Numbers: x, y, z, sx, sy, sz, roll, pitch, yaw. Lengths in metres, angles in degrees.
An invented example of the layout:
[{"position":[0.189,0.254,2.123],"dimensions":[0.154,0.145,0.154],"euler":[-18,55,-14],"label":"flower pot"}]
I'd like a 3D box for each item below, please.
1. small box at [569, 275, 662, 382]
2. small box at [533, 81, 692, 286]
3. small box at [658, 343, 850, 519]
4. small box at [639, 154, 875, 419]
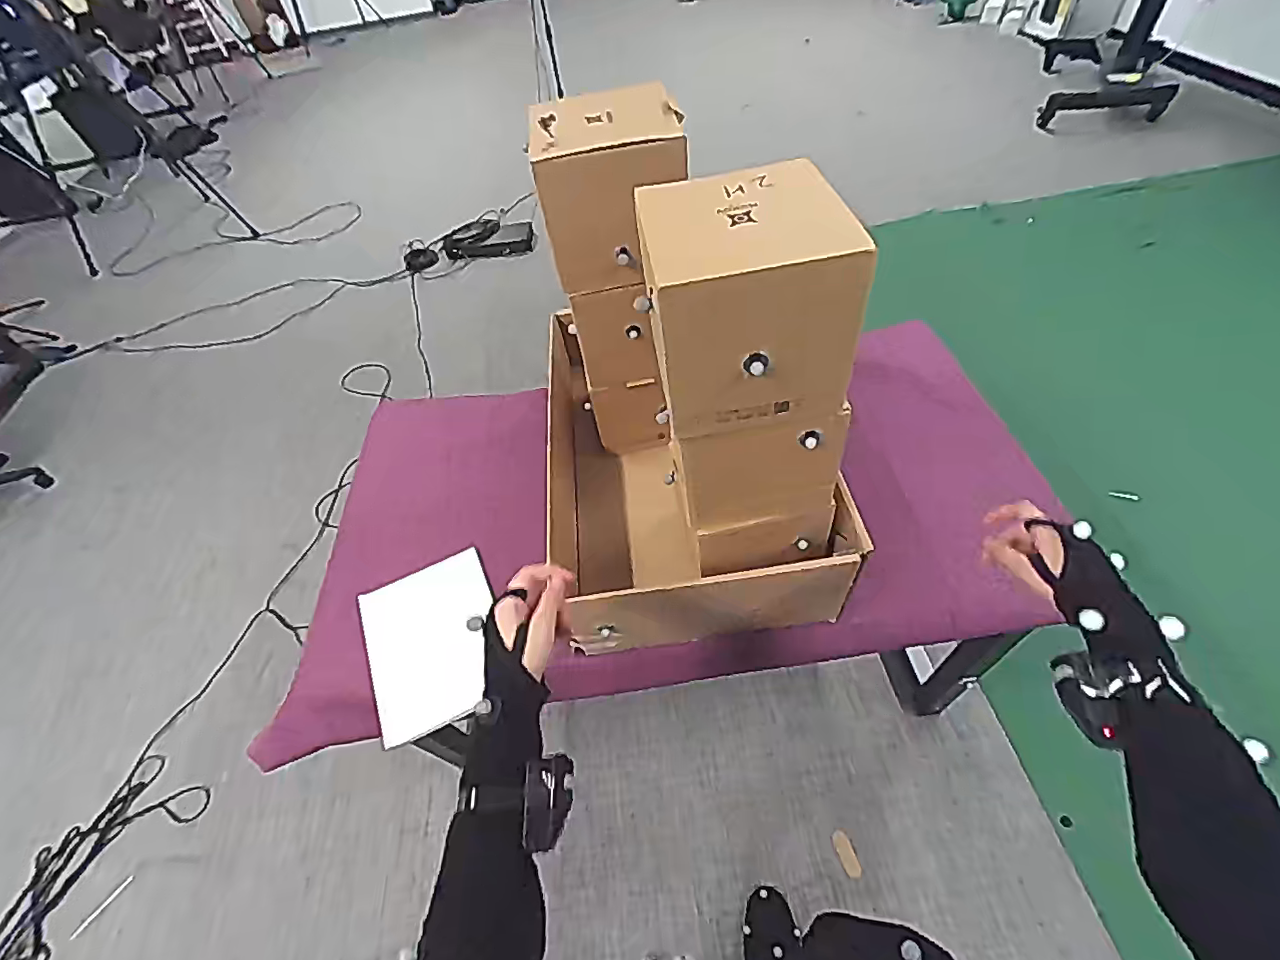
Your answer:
[{"position":[-0.011,-0.274,0.821],"dimensions":[0.179,0.176,0.168],"euler":[-11,52,0],"label":"small box"},{"position":[-0.031,-0.375,0.693],"dimensions":[0.179,0.176,0.168],"euler":[-8,52,0],"label":"small box"},{"position":[0.124,-0.070,0.637],"dimensions":[0.179,0.176,0.168],"euler":[-9,50,2],"label":"small box"},{"position":[0.097,-0.173,0.510],"dimensions":[0.168,0.176,0.179],"euler":[-9,50,2],"label":"small box"}]
